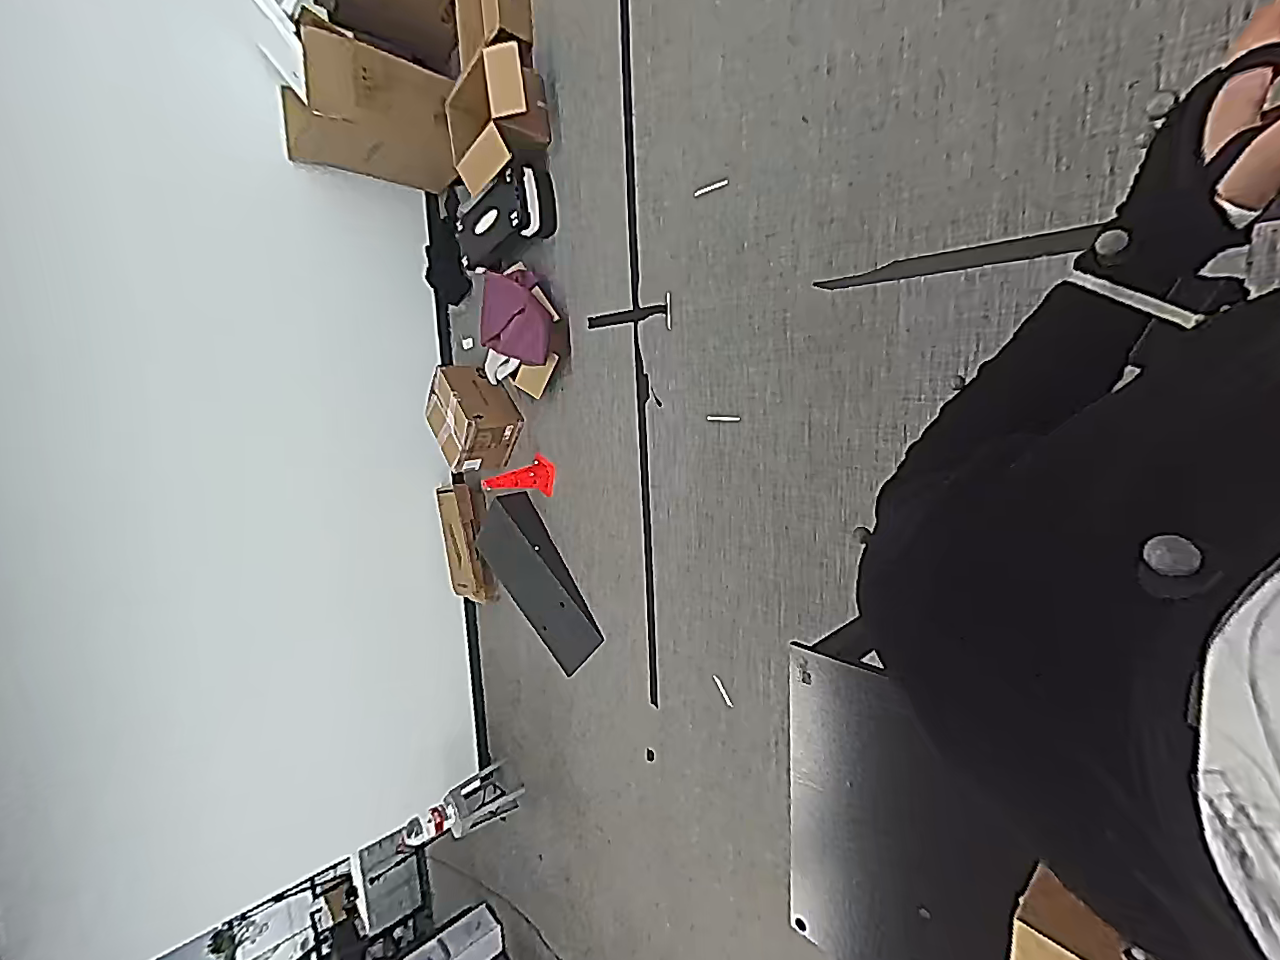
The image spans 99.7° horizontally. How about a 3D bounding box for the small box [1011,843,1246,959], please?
[{"bbox_3d":[0.543,0.564,0.610,0.179,0.176,0.168,10,106,49],"label":"small box"}]
